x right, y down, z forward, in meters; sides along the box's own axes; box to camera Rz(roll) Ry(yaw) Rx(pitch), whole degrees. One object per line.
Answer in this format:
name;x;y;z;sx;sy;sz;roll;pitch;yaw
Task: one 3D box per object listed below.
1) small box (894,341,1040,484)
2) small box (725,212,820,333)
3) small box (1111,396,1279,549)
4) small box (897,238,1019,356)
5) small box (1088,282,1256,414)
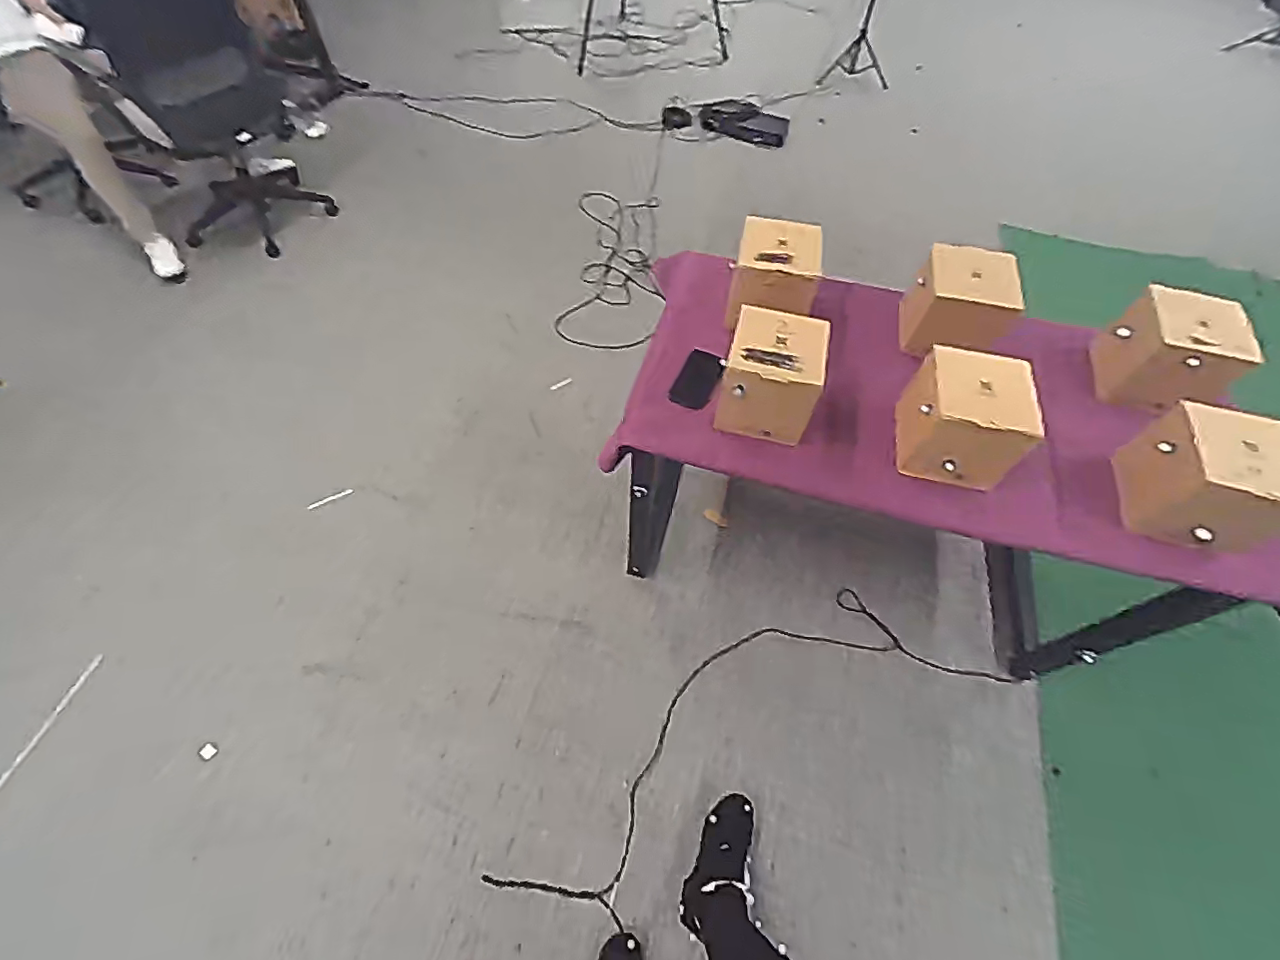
small box;0.582;-0.121;0.990;0.168;0.176;0.179;12;58;5
small box;0.285;-0.449;1.182;0.168;0.176;0.179;11;58;4
small box;0.962;-0.010;0.930;0.168;0.176;0.179;15;59;9
small box;0.667;-0.379;1.155;0.168;0.176;0.179;13;59;7
small box;1.057;-0.263;1.096;0.168;0.176;0.179;16;59;9
